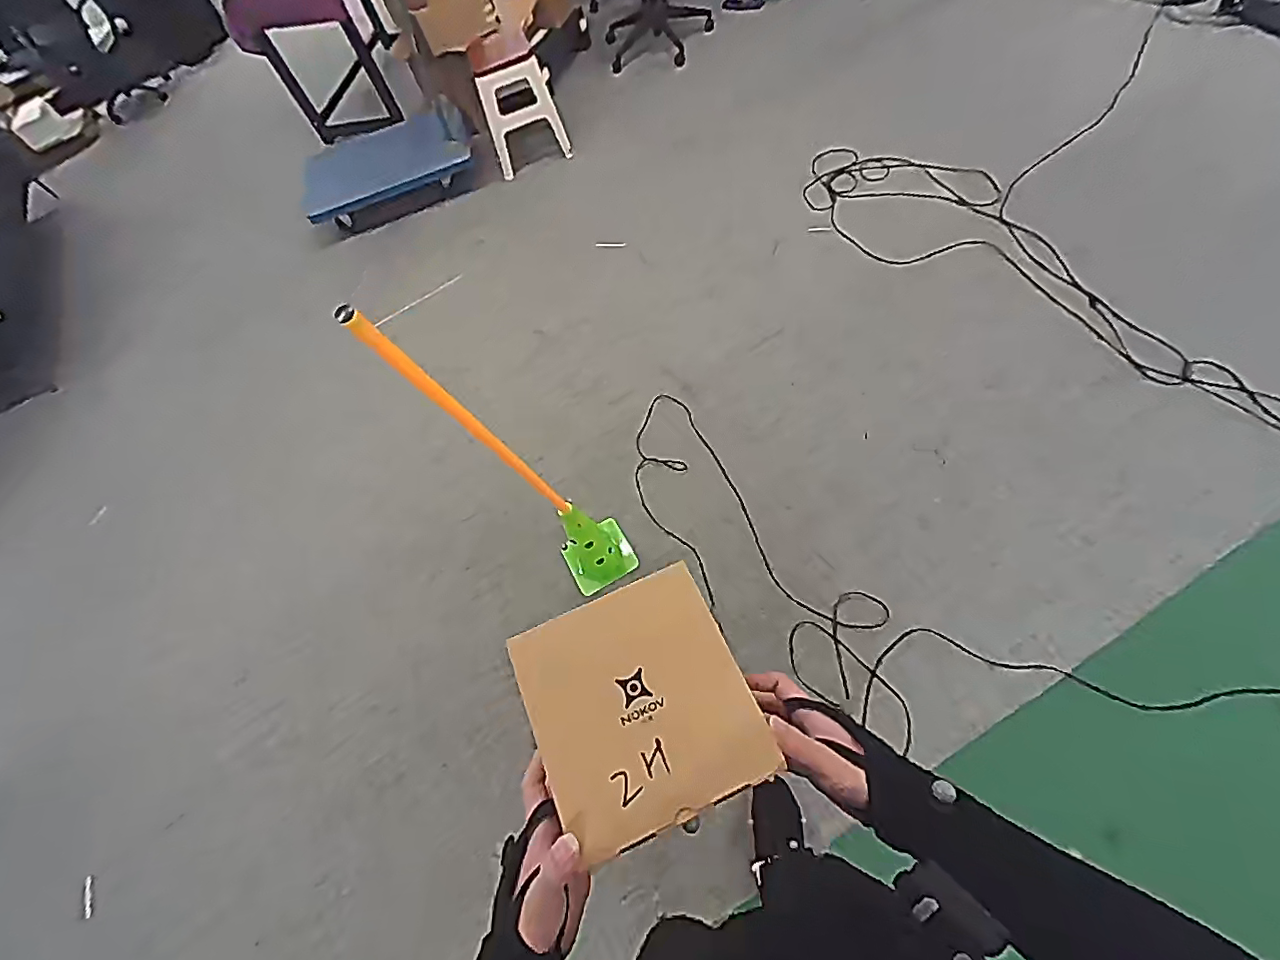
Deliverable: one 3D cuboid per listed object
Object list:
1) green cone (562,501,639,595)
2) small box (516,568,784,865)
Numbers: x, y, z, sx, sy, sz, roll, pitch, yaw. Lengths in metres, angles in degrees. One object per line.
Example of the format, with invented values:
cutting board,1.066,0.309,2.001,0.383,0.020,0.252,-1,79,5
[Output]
green cone,-0.156,0.161,1.562,0.202,0.368,0.200,-29,61,-6
small box,0.006,0.211,0.495,0.168,0.176,0.179,-22,63,-6
